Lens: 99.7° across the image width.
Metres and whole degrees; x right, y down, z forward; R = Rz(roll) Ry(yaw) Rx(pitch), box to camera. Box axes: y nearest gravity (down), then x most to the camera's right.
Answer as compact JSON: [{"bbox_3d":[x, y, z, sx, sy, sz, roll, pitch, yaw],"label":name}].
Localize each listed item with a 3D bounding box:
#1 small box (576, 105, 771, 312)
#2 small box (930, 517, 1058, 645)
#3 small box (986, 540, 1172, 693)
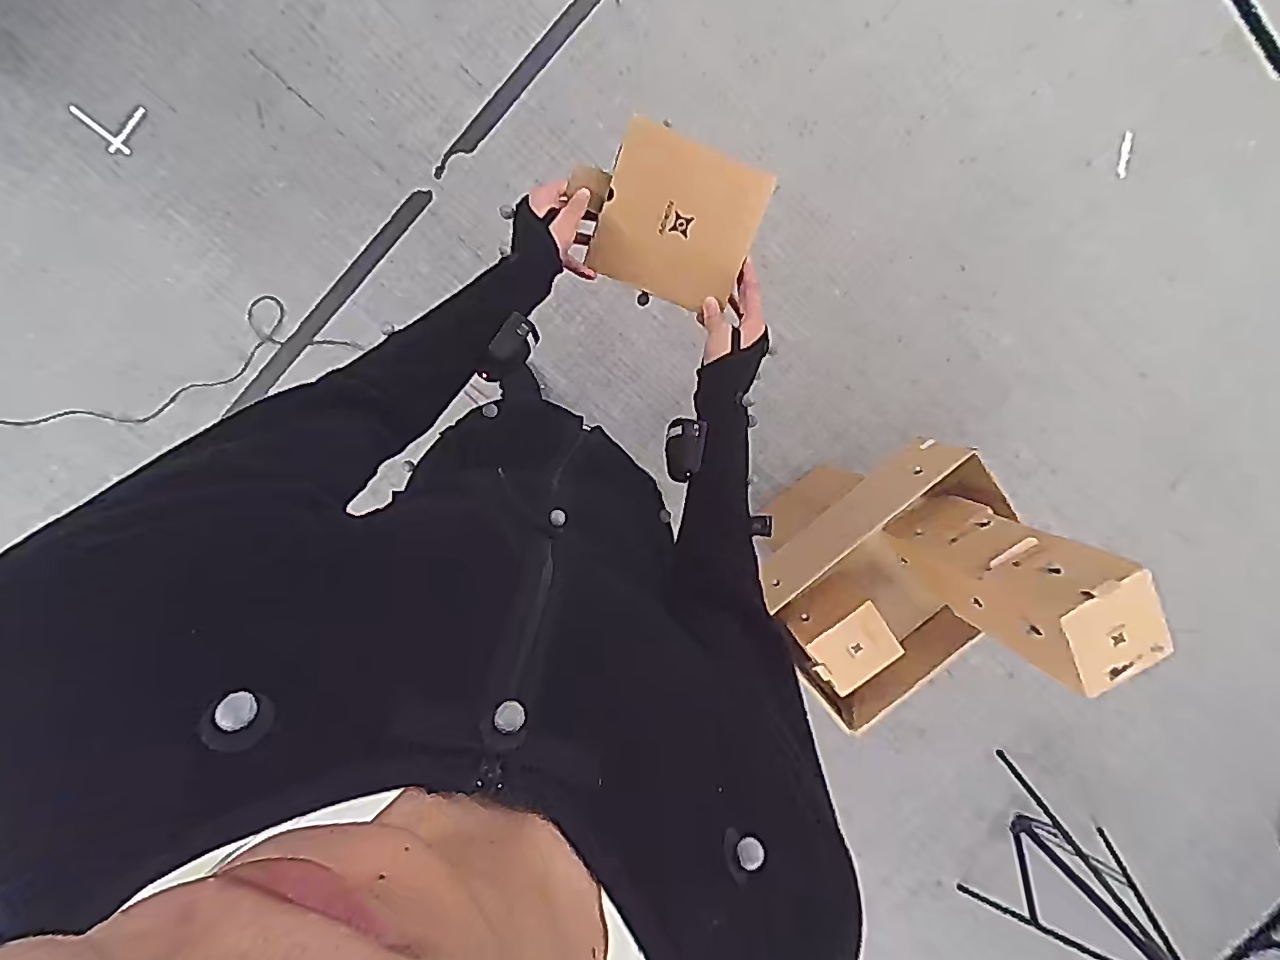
[{"bbox_3d":[0.038,-0.326,0.678,0.179,0.176,0.168,20,109,-4],"label":"small box"},{"bbox_3d":[0.732,0.191,1.098,0.168,0.176,0.179,-32,104,1],"label":"small box"},{"bbox_3d":[0.746,0.221,0.937,0.168,0.176,0.179,-28,103,0],"label":"small box"}]
